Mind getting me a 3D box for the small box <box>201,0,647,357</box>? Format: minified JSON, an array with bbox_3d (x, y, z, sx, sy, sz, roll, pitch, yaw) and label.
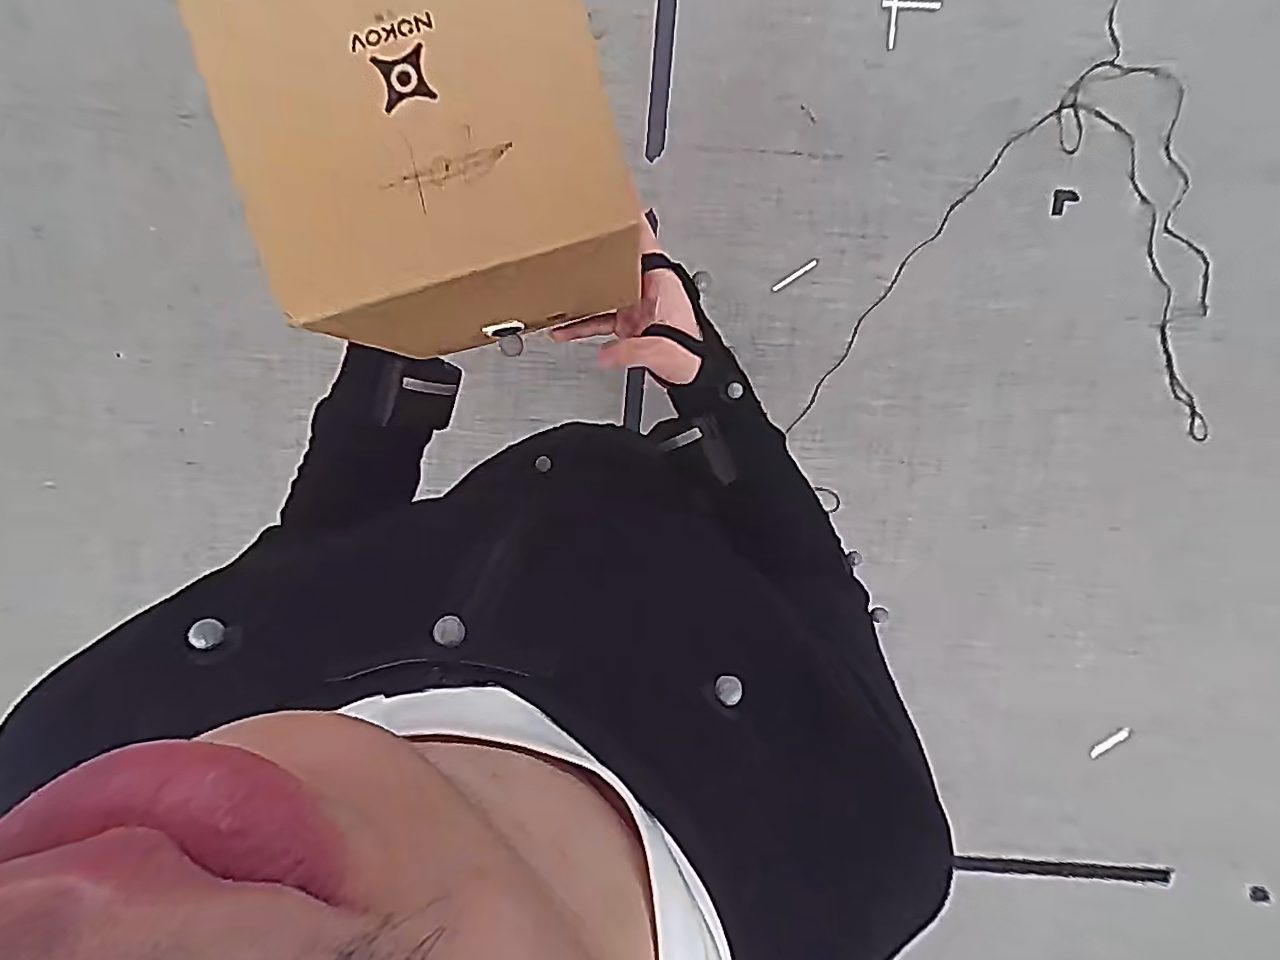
[{"bbox_3d":[-0.098,-0.185,0.320,0.168,0.176,0.179,-16,97,3],"label":"small box"}]
